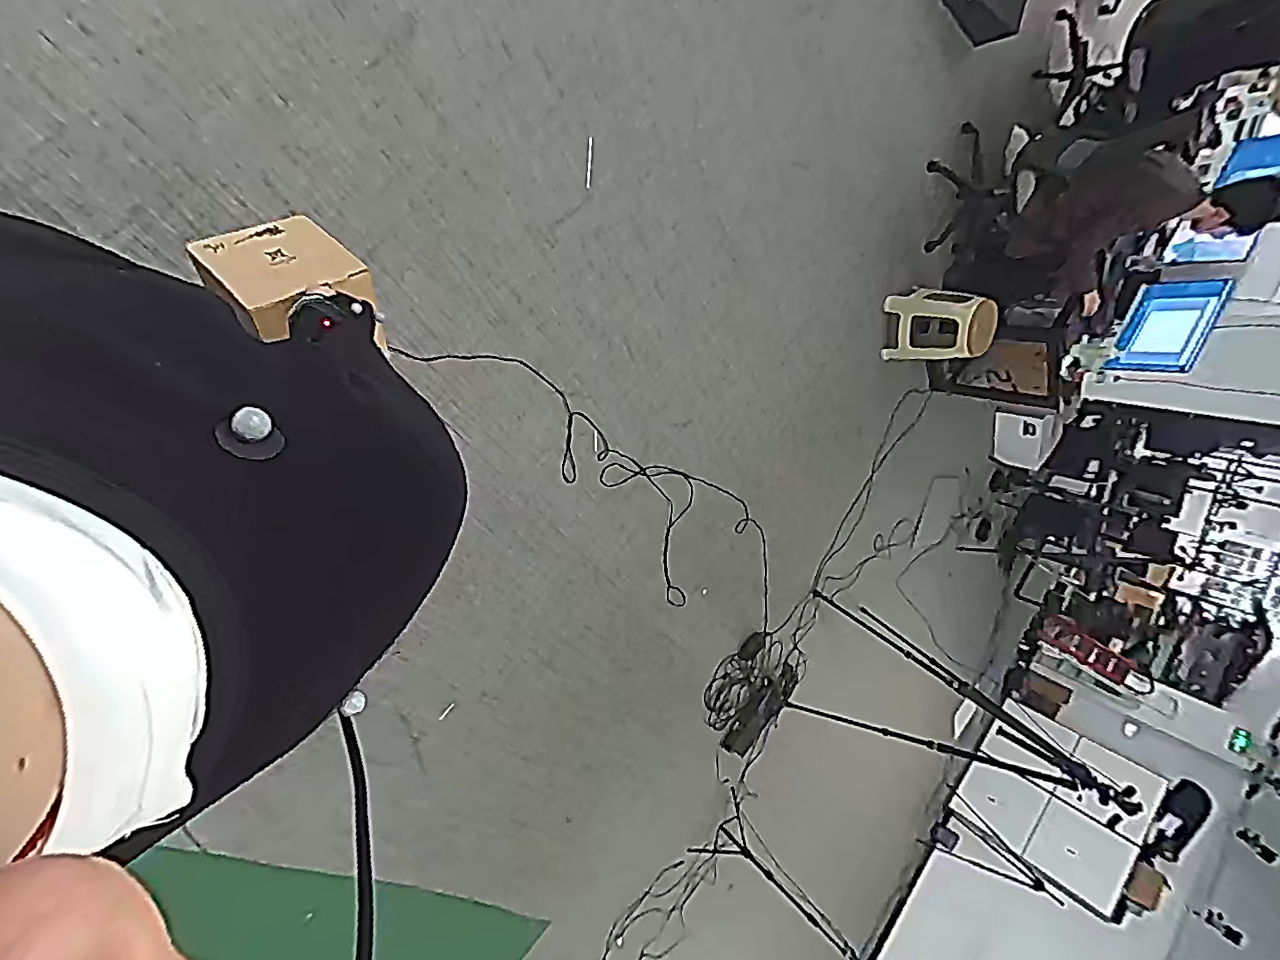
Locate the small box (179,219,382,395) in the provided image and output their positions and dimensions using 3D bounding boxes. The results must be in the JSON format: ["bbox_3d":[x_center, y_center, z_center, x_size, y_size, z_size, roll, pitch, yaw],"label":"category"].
[{"bbox_3d":[-0.522,-0.252,0.814,0.168,0.179,0.176,-43,161,-33],"label":"small box"}]
